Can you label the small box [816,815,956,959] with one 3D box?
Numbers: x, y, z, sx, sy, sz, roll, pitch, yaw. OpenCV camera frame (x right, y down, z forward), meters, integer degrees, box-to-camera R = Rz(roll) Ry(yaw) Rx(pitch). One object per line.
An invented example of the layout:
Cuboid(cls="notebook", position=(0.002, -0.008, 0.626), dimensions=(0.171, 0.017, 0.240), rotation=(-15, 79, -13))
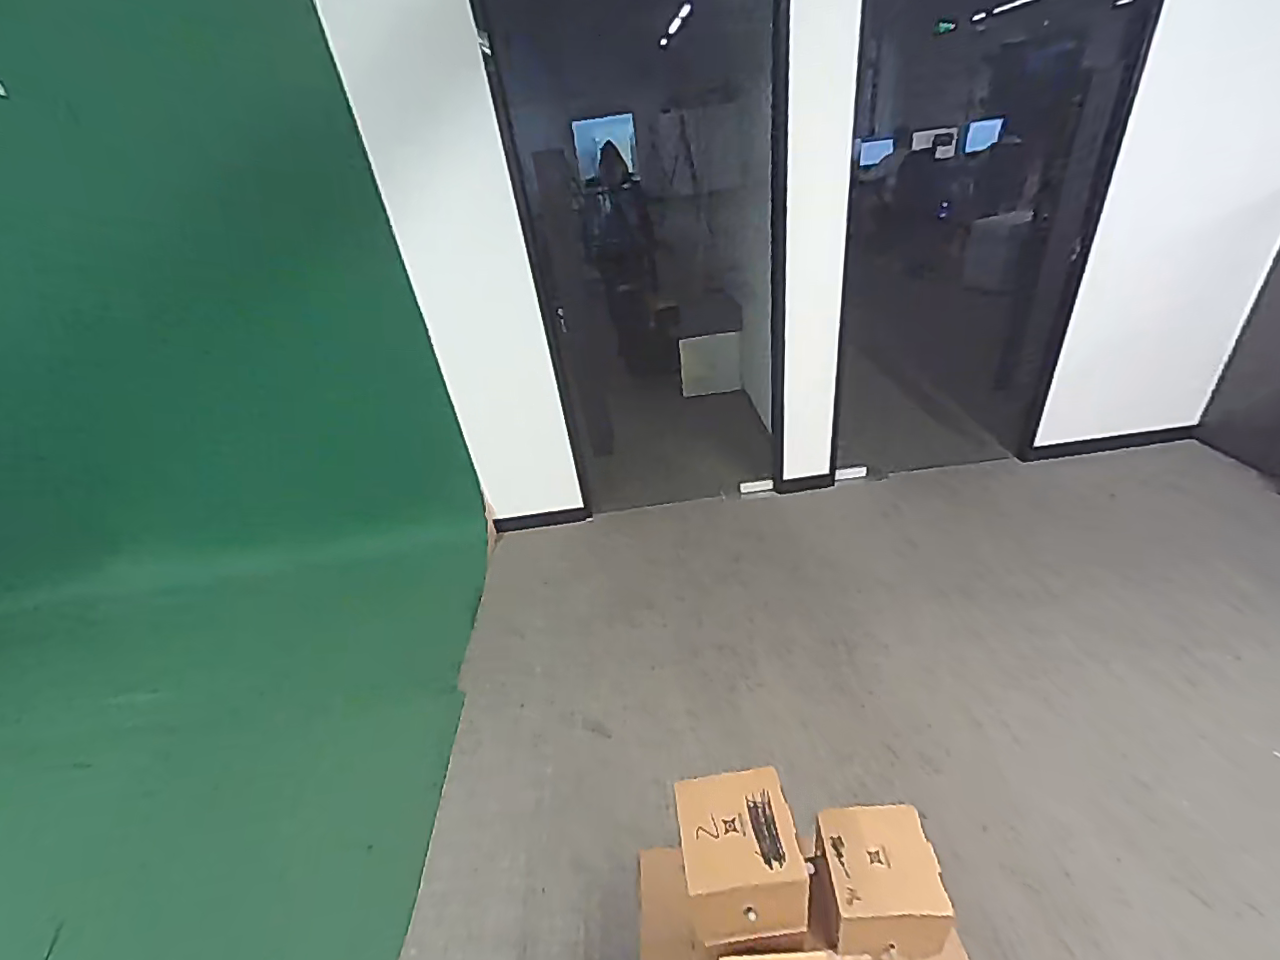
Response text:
Cuboid(cls="small box", position=(0.415, 0.713, 0.944), dimensions=(0.179, 0.176, 0.168), rotation=(-6, 32, 7))
